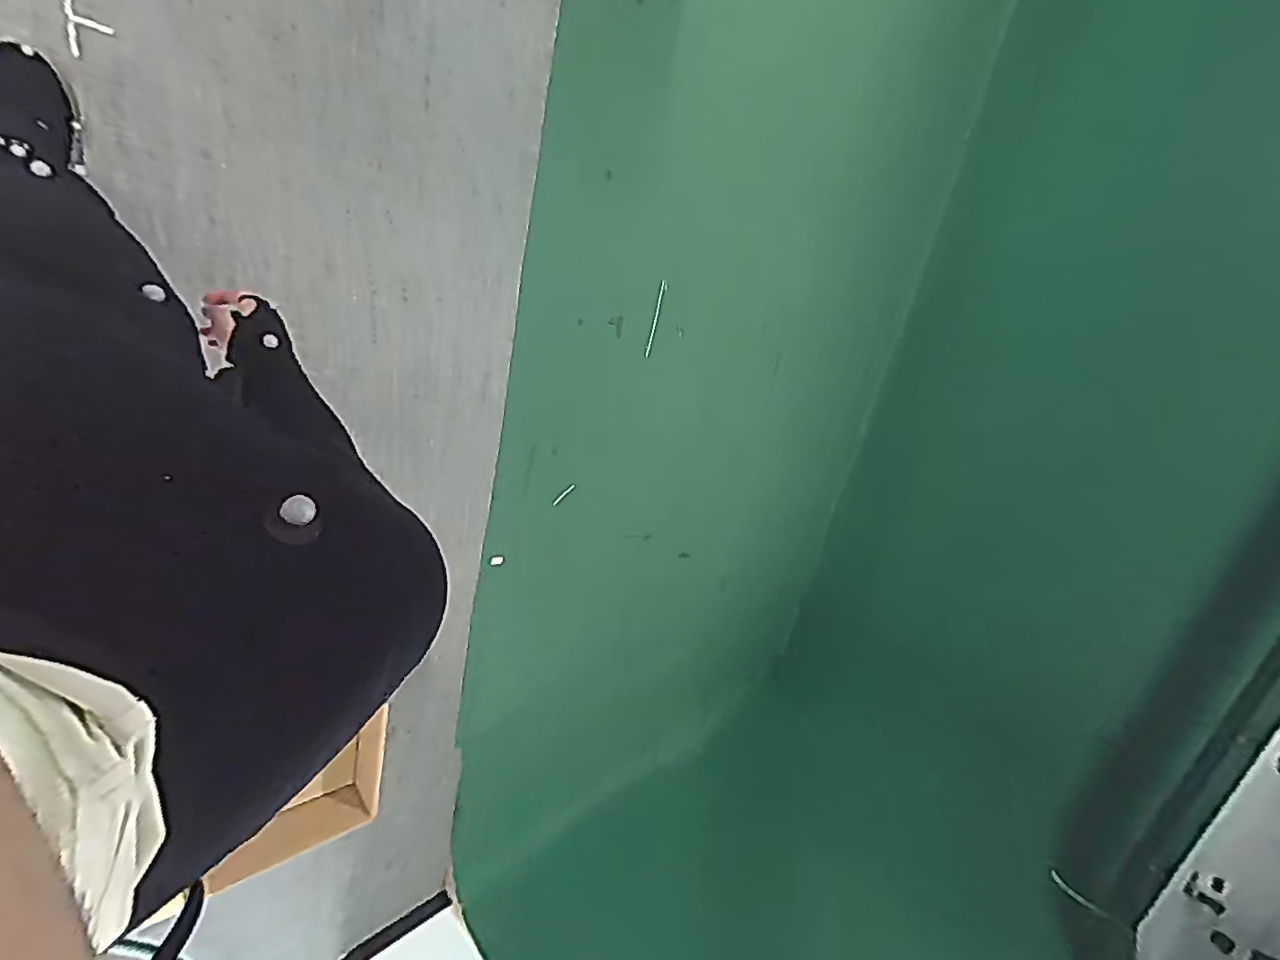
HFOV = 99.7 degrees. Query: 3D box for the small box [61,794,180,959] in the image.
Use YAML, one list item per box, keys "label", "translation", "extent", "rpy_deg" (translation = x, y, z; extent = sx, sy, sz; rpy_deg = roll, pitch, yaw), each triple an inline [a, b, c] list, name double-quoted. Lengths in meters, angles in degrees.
- label: "small box"
  translation: [-1.048, 0.789, 1.096]
  extent: [0.168, 0.176, 0.179]
  rpy_deg: [-2, 111, -45]
